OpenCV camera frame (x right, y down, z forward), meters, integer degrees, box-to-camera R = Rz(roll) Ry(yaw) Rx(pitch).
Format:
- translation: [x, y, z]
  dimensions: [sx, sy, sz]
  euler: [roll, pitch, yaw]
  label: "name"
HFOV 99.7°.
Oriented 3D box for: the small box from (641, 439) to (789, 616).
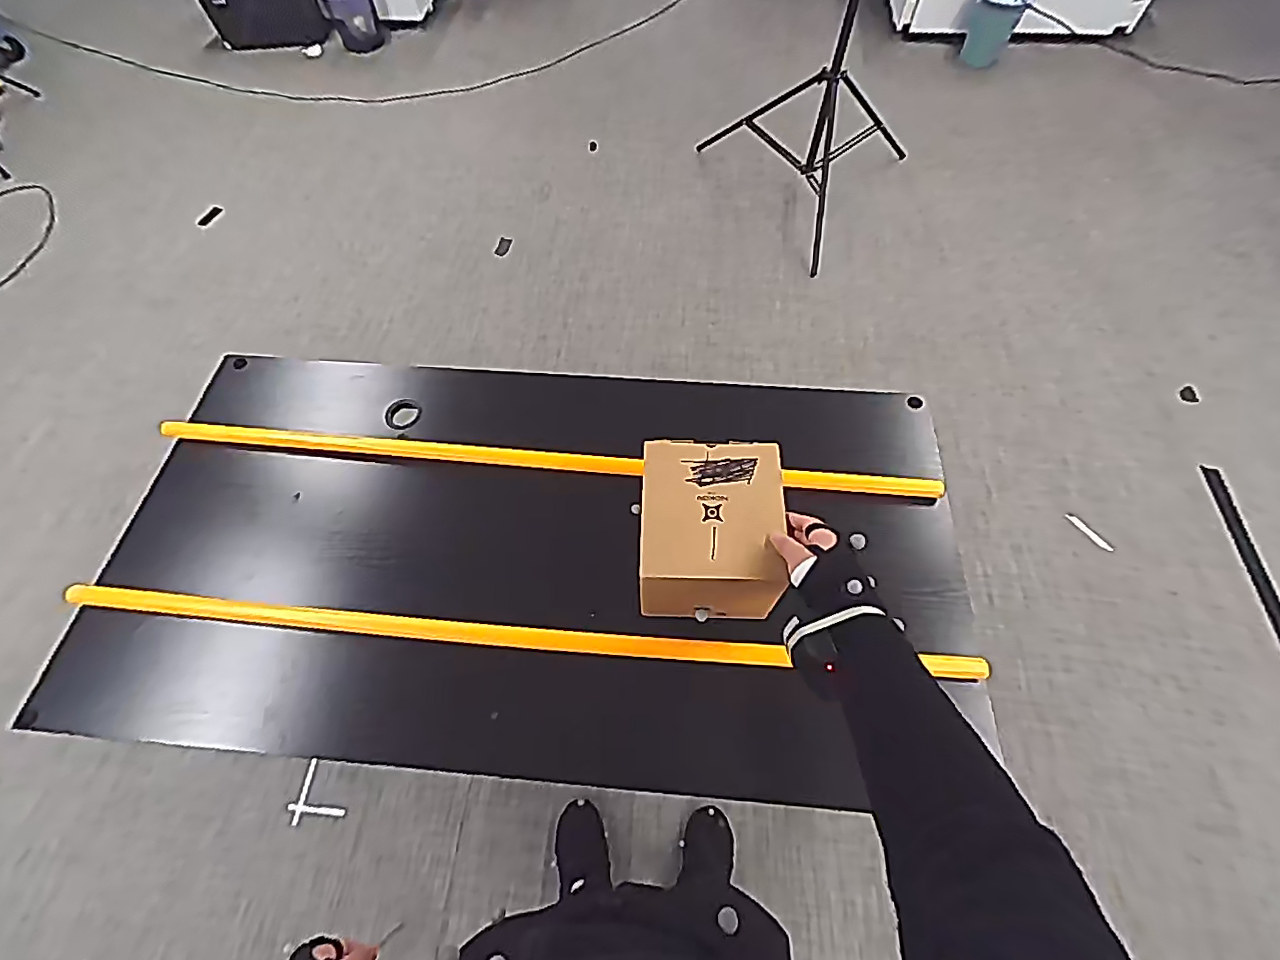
- translation: [0.087, 0.066, 0.699]
  dimensions: [0.168, 0.176, 0.179]
  euler: [1, 62, 2]
  label: "small box"
